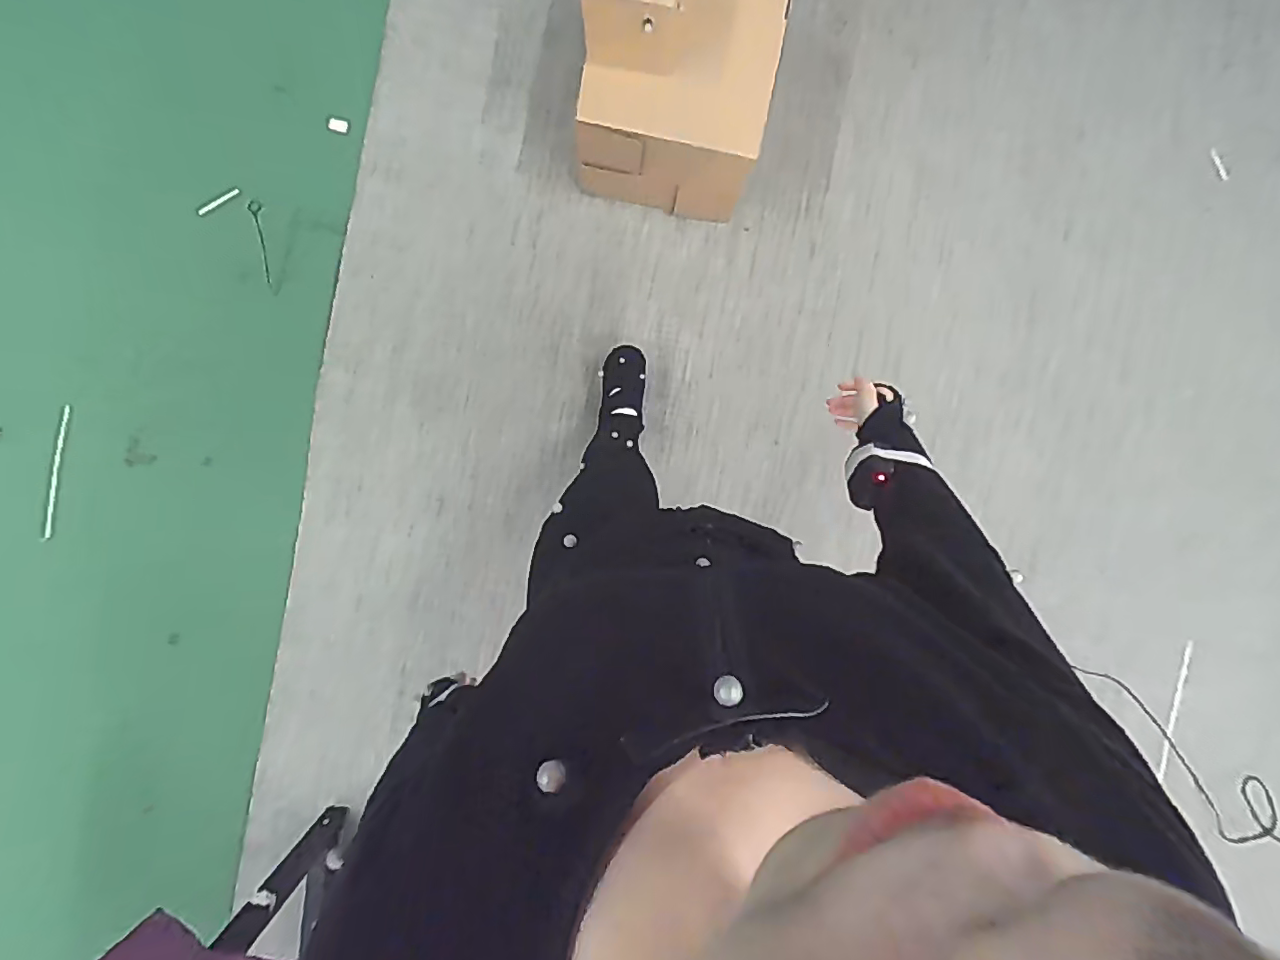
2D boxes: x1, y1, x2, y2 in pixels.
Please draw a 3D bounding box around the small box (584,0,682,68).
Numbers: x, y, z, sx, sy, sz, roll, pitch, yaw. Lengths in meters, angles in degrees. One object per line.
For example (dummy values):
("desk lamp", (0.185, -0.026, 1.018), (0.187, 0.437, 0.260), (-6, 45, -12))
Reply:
("small box", (-0.007, -0.952, 1.054), (0.179, 0.176, 0.168), (10, 90, -1))
